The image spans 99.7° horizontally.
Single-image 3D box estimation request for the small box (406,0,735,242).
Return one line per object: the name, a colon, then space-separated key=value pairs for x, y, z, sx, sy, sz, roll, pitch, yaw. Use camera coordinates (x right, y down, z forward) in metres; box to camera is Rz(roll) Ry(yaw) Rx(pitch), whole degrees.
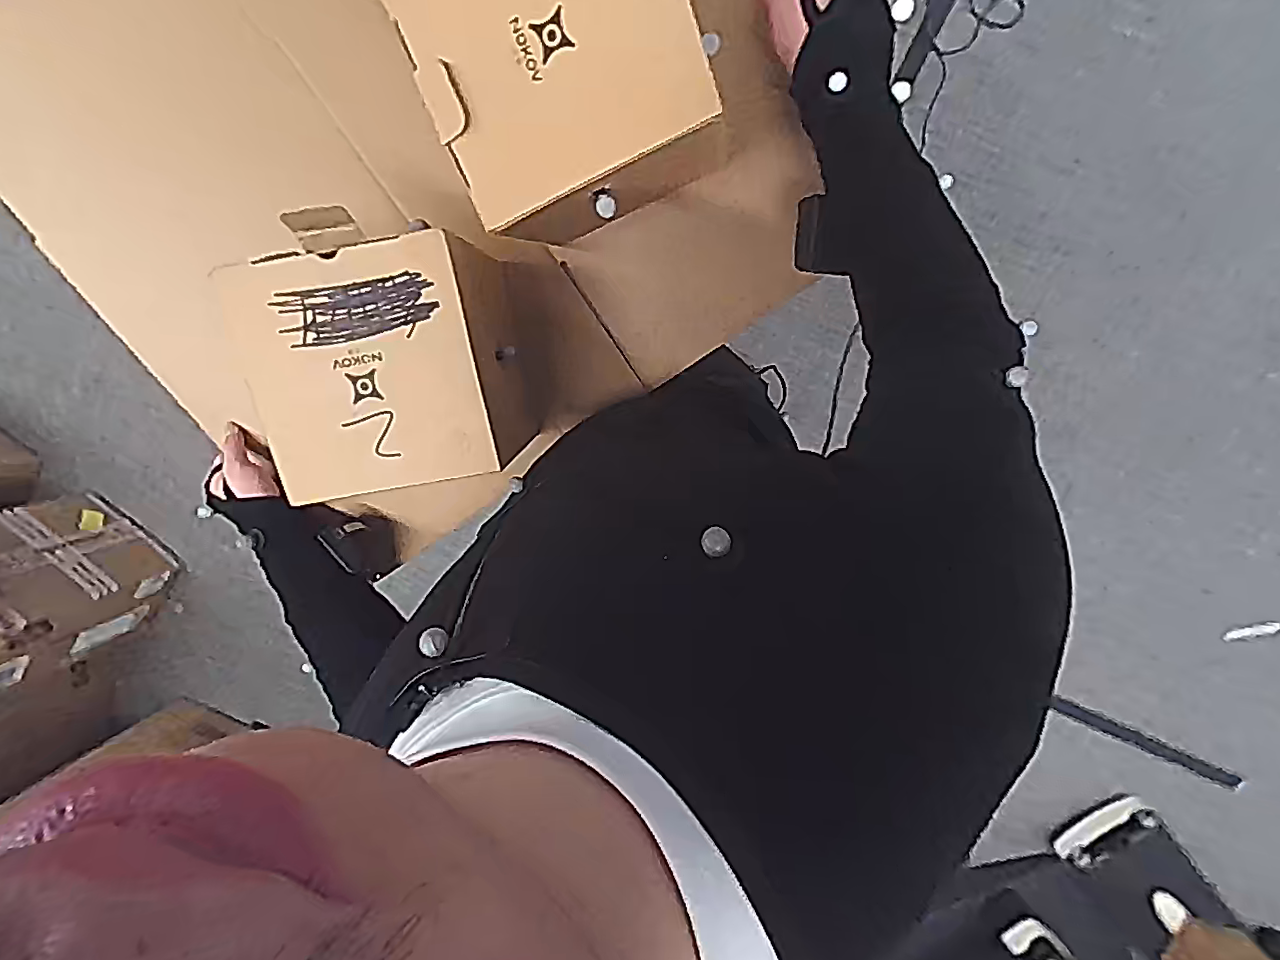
small box: x=-0.034 y=-0.301 z=0.419 sx=0.179 sy=0.176 sz=0.168 roll=-17 pitch=107 yaw=17
